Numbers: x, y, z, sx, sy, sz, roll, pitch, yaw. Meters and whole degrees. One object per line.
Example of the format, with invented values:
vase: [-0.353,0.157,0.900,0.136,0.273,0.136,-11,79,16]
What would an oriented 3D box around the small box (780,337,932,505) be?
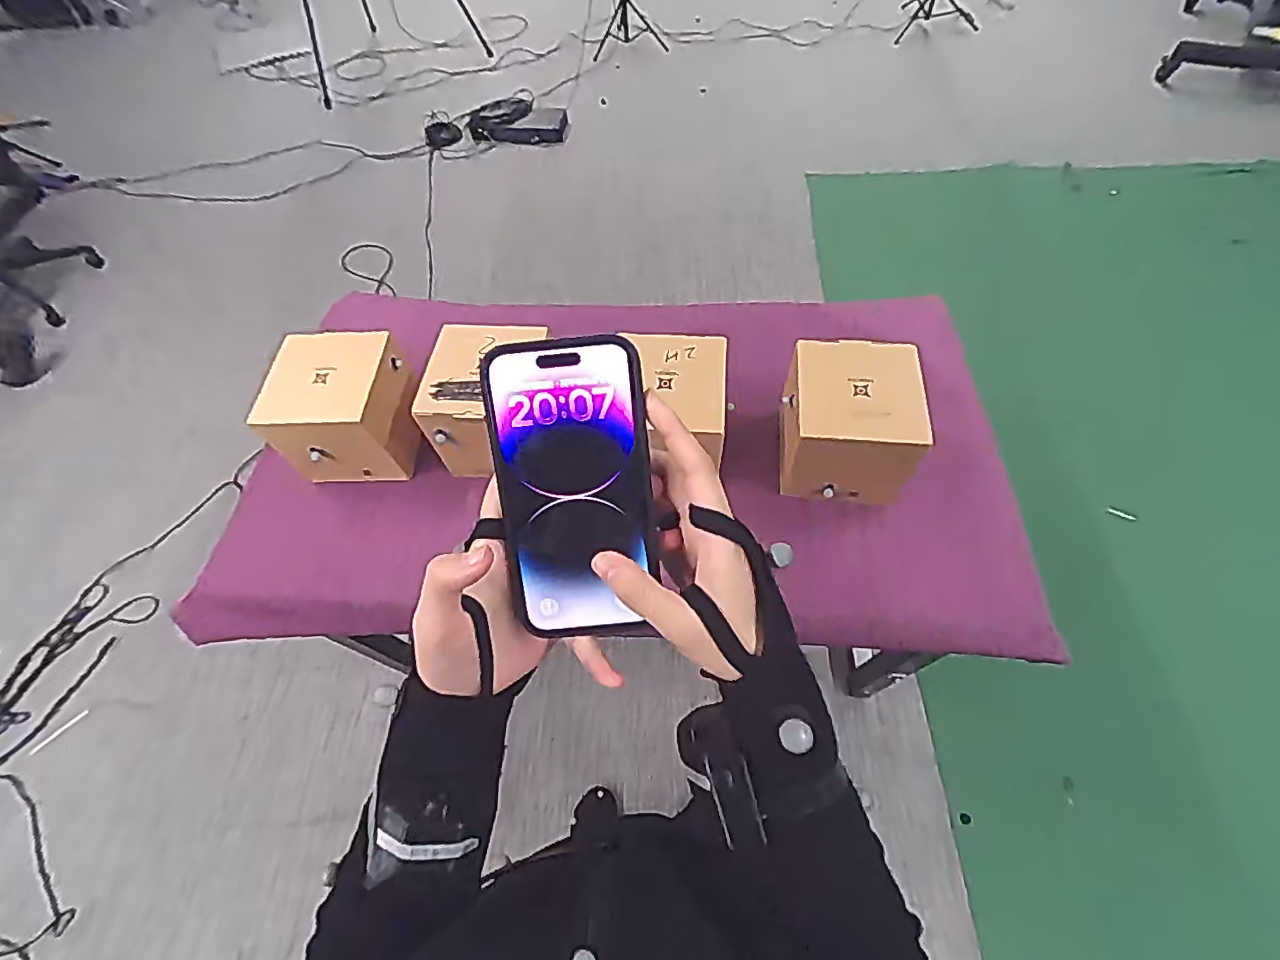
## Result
small box: [0.301,-0.084,0.794,0.168,0.176,0.179,5,60,7]

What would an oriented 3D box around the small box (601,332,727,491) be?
small box: [0.042,-0.098,0.818,0.168,0.176,0.179,4,59,5]

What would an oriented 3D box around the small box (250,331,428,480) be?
small box: [-0.457,-0.110,0.858,0.168,0.176,0.179,-2,58,3]
